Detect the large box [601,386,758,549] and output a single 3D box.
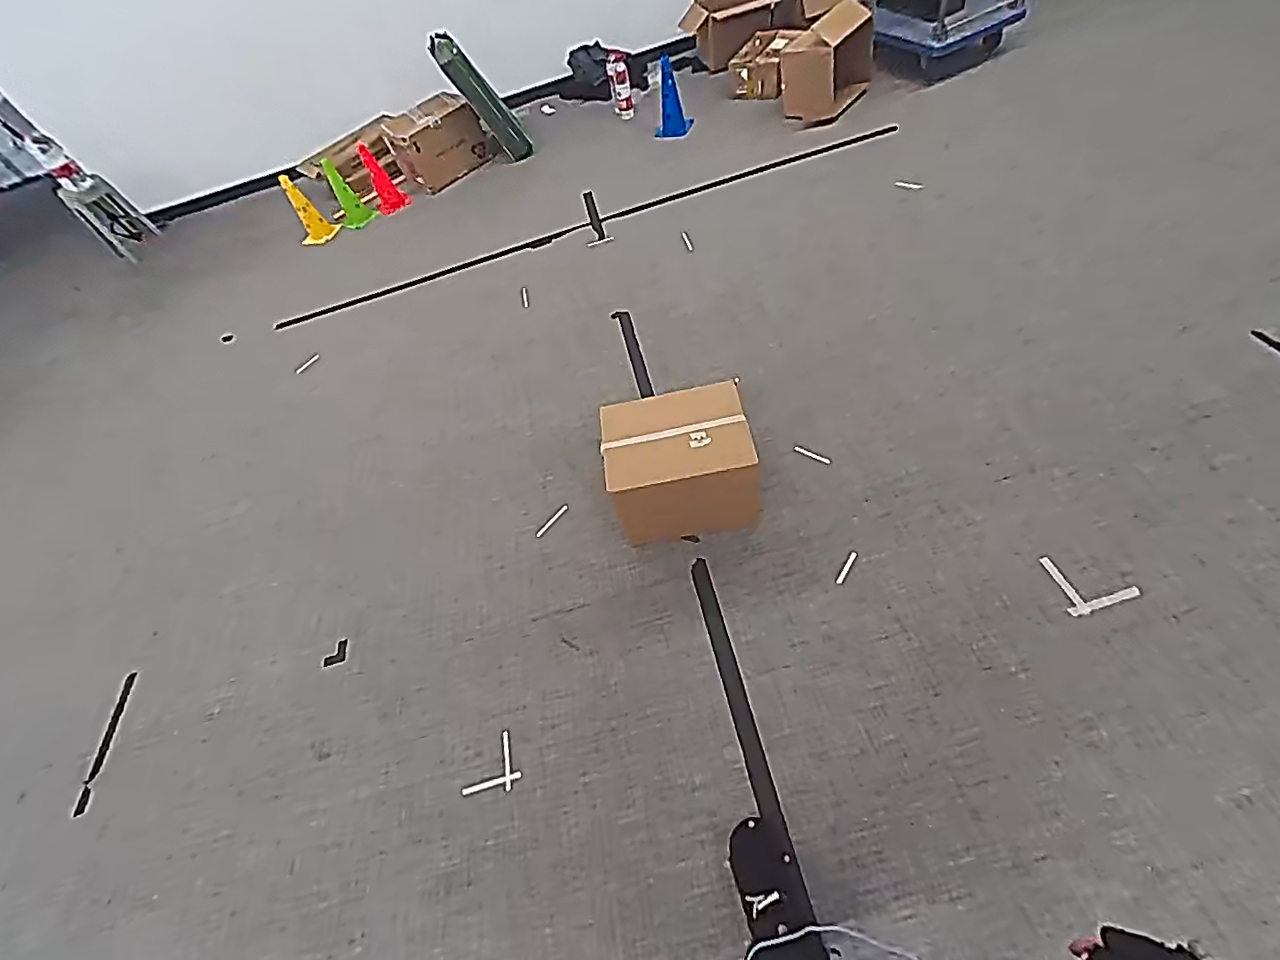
[{"bbox_3d":[0.118,-0.028,1.607,0.408,0.320,0.320,-11,54,5],"label":"large box"}]
